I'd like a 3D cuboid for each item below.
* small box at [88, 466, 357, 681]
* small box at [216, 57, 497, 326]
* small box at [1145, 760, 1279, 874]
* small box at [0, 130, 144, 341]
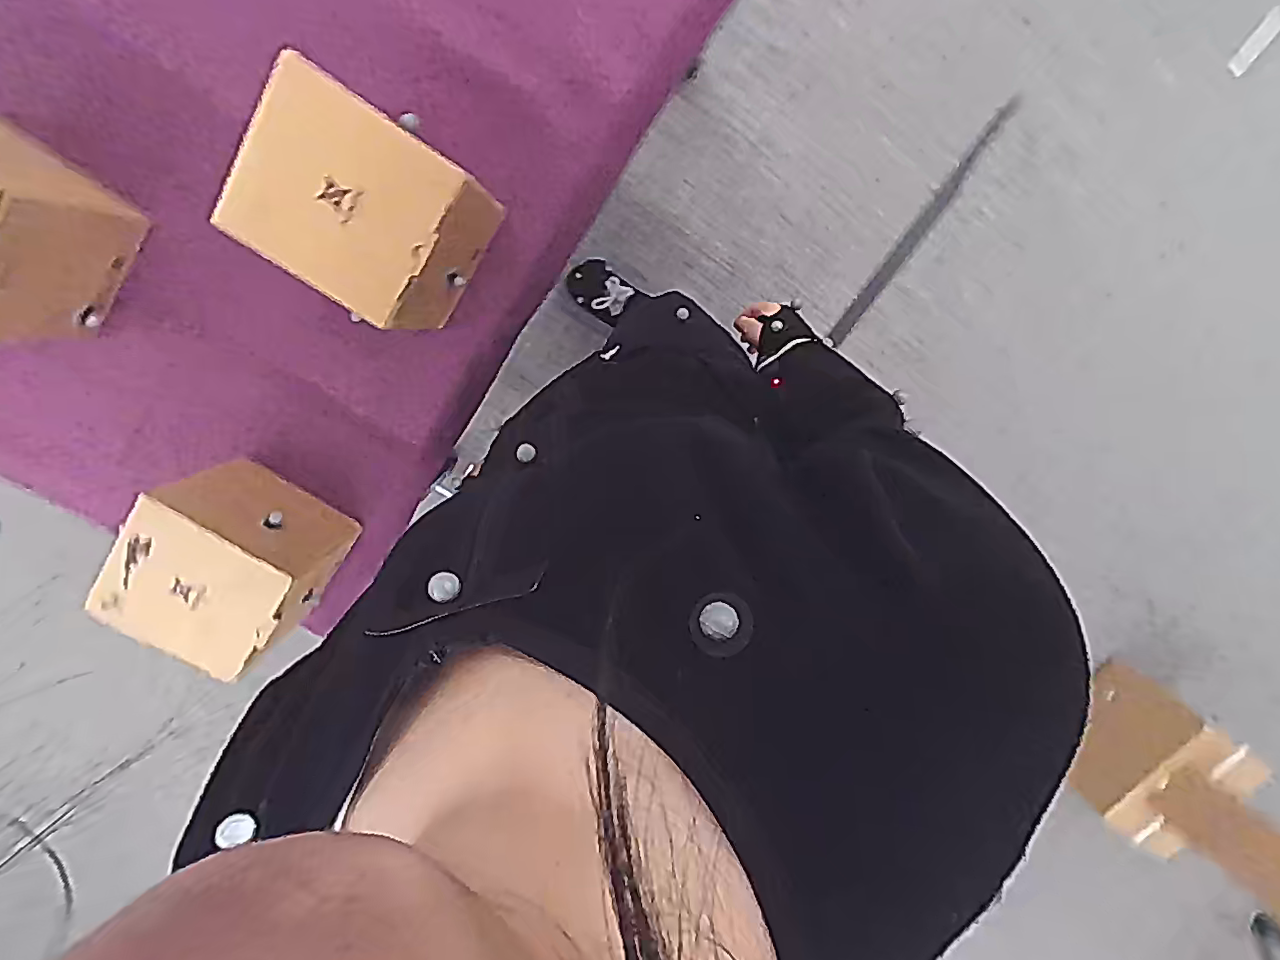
[{"bbox_3d":[-0.493,0.103,0.671,0.179,0.176,0.168,34,101,-12],"label":"small box"},{"bbox_3d":[-0.279,-0.278,0.573,0.179,0.176,0.168,32,102,-11],"label":"small box"},{"bbox_3d":[1.562,0.913,1.479,0.168,0.176,0.179,32,103,-10],"label":"small box"},{"bbox_3d":[-0.680,-0.259,0.552,0.179,0.176,0.168,35,101,-13],"label":"small box"}]
